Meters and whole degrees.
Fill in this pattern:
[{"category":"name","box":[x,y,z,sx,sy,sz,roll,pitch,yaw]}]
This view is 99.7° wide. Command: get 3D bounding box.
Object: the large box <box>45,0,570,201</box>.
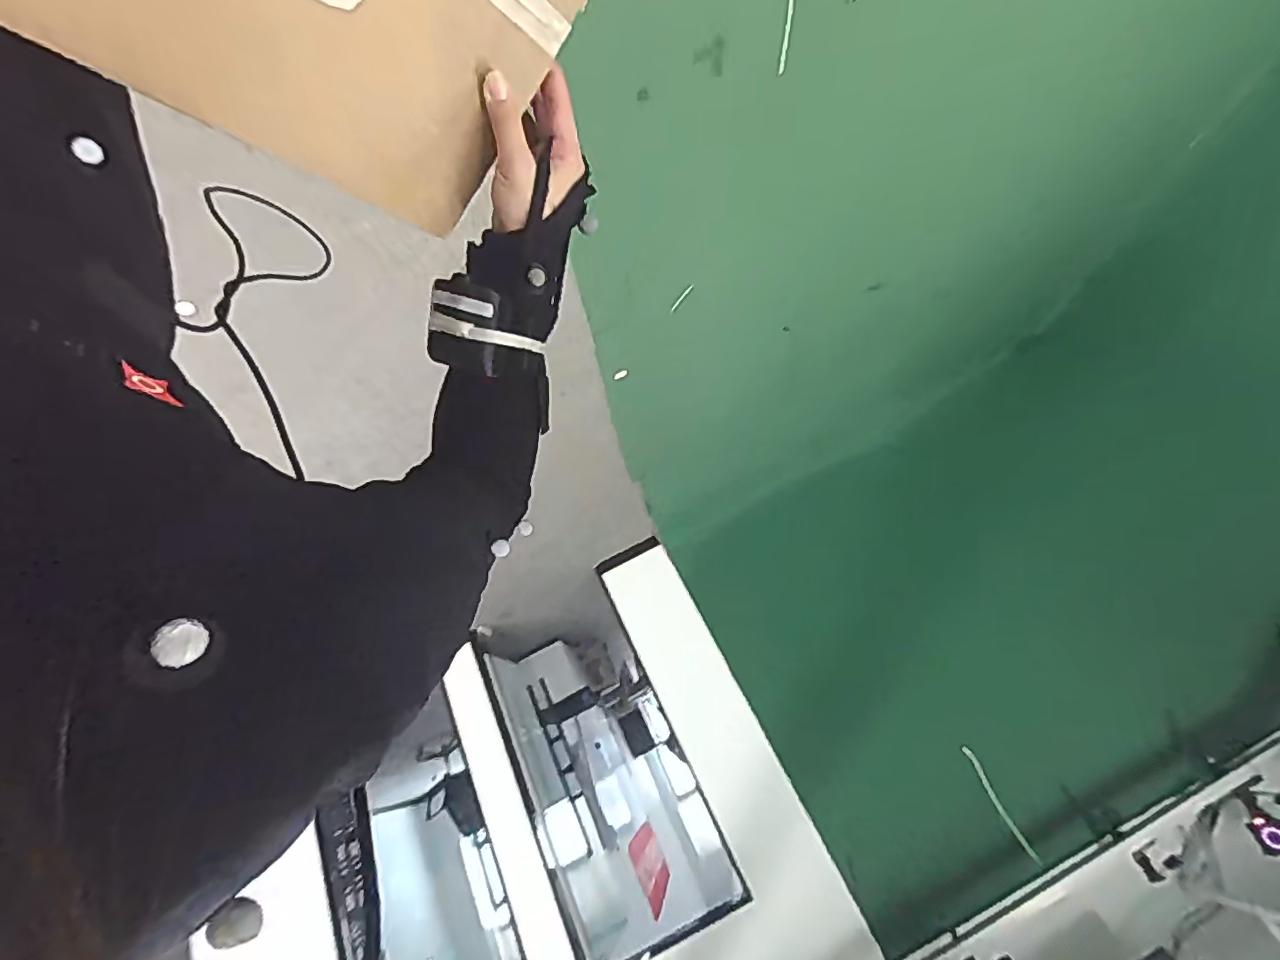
[{"category":"large box","box":[-0.237,-0.431,0.254,0.408,0.320,0.320,7,137,-50]}]
